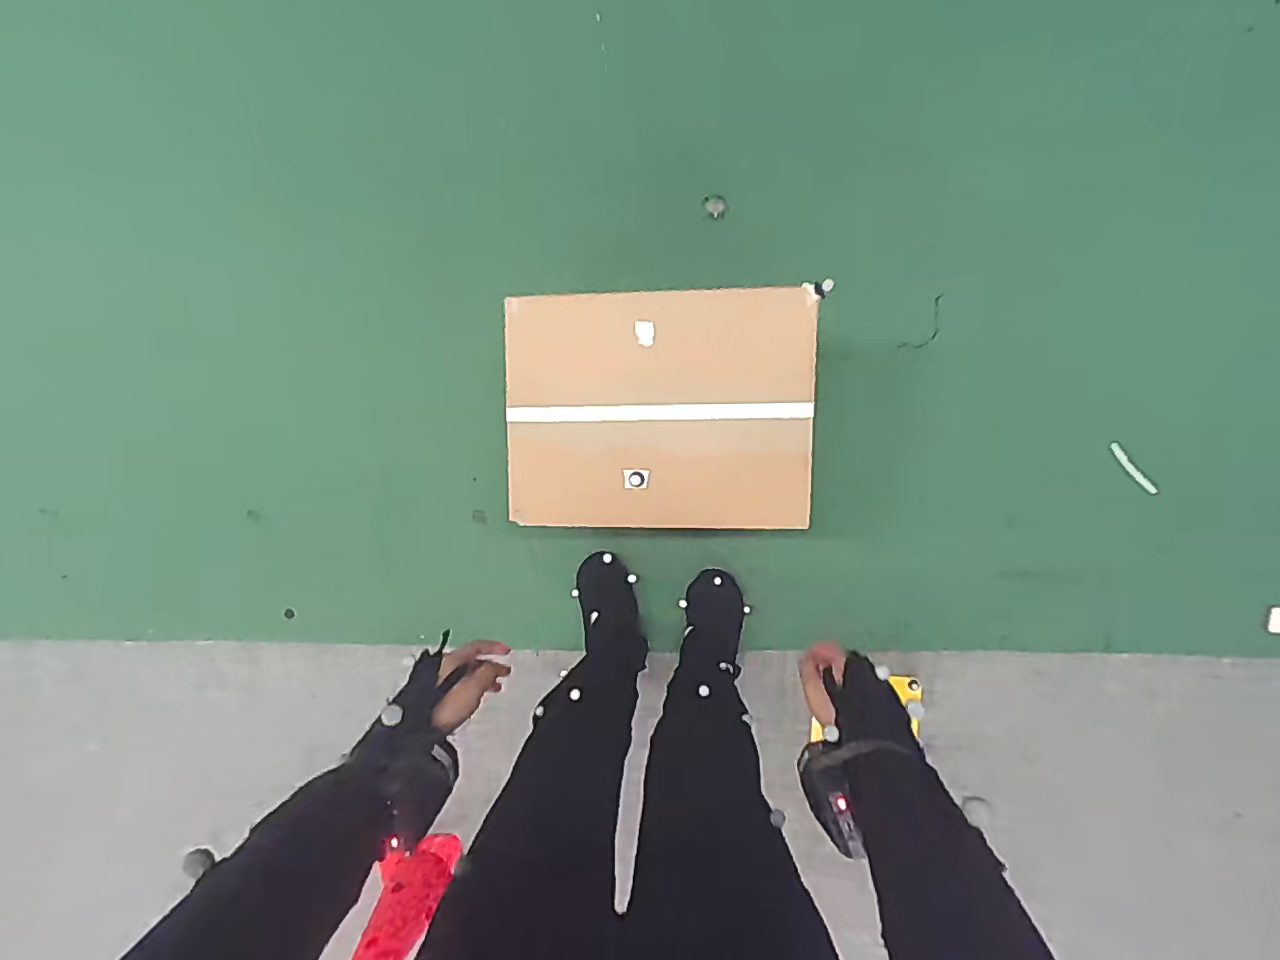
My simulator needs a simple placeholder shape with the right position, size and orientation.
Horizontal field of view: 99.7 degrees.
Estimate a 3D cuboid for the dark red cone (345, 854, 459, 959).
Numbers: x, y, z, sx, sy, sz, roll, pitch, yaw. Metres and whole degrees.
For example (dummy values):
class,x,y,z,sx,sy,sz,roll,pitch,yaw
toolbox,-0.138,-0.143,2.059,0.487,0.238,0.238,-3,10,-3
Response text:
class,x,y,z,sx,sy,sz,roll,pitch,yaw
dark red cone,-0.509,0.908,0.994,0.202,0.394,0.201,-9,93,8
